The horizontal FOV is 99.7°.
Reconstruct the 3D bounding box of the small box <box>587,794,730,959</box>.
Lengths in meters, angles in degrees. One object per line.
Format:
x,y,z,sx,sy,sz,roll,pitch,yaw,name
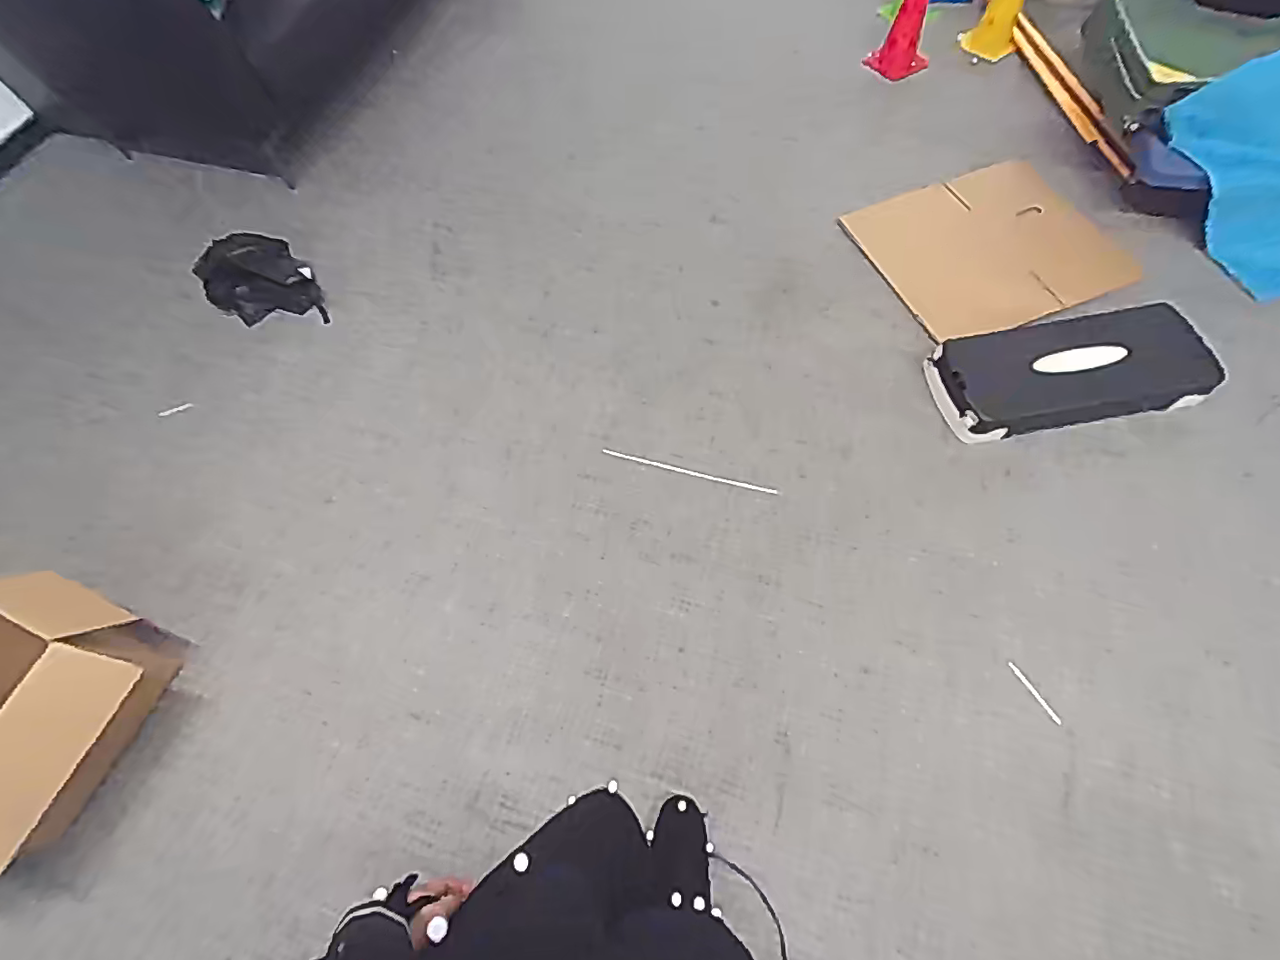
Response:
0.037,0.719,0.962,0.176,0.168,0.179,-41,82,9,small box
